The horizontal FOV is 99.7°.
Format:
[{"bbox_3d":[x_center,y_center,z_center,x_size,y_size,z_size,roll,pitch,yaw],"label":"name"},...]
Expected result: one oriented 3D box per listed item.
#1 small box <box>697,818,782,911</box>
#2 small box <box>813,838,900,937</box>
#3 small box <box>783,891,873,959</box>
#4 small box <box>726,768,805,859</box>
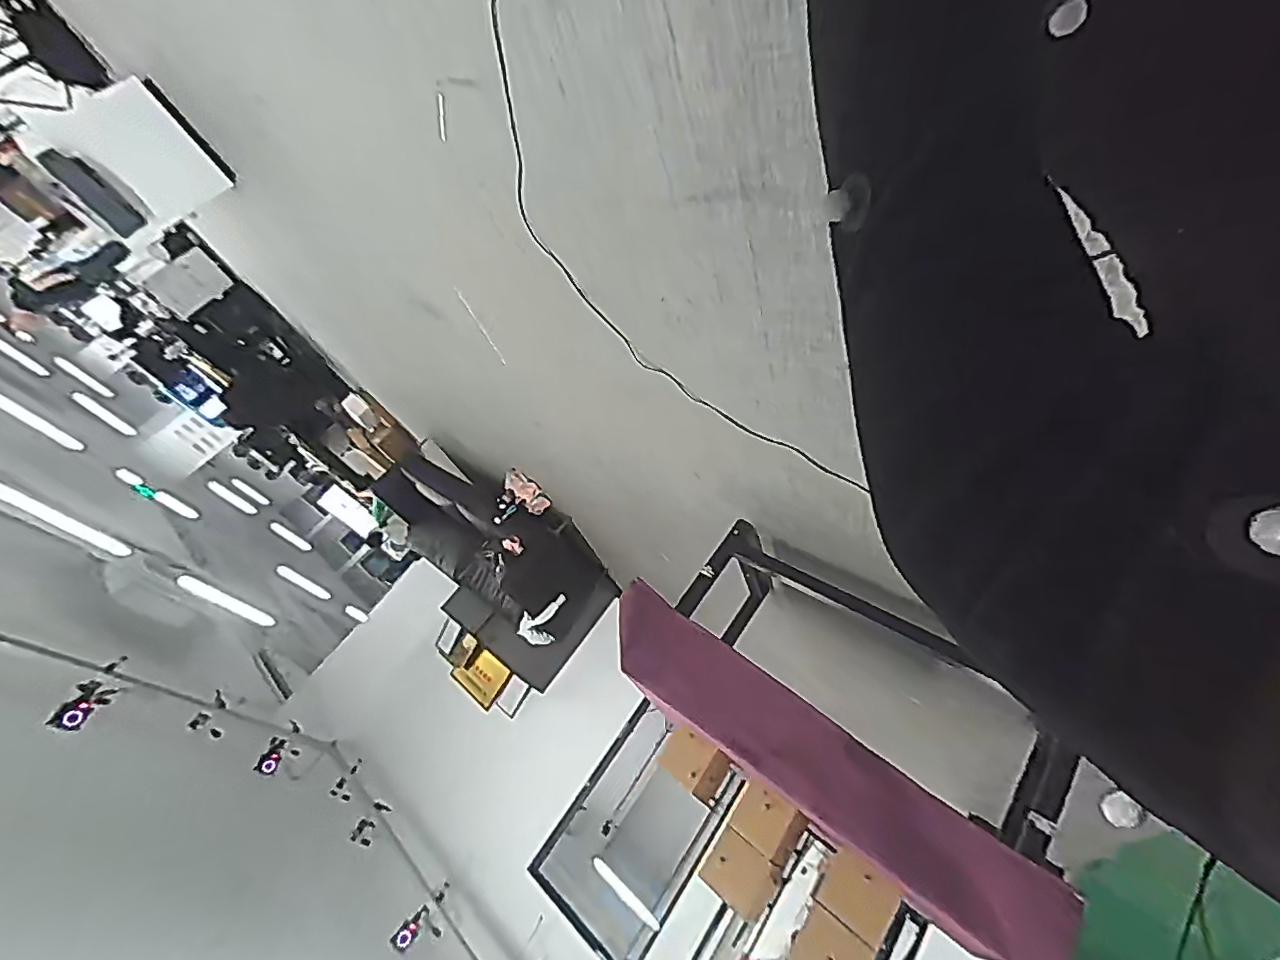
[{"bbox_3d":[0.314,1.191,1.688,0.179,0.176,0.168,21,154,41],"label":"small box"},{"bbox_3d":[0.627,1.170,1.564,0.179,0.176,0.168,24,156,38],"label":"small box"},{"bbox_3d":[0.528,1.289,1.510,0.179,0.176,0.168,23,155,37],"label":"small box"},{"bbox_3d":[0.412,1.073,1.747,0.168,0.176,0.179,20,152,42],"label":"small box"}]
